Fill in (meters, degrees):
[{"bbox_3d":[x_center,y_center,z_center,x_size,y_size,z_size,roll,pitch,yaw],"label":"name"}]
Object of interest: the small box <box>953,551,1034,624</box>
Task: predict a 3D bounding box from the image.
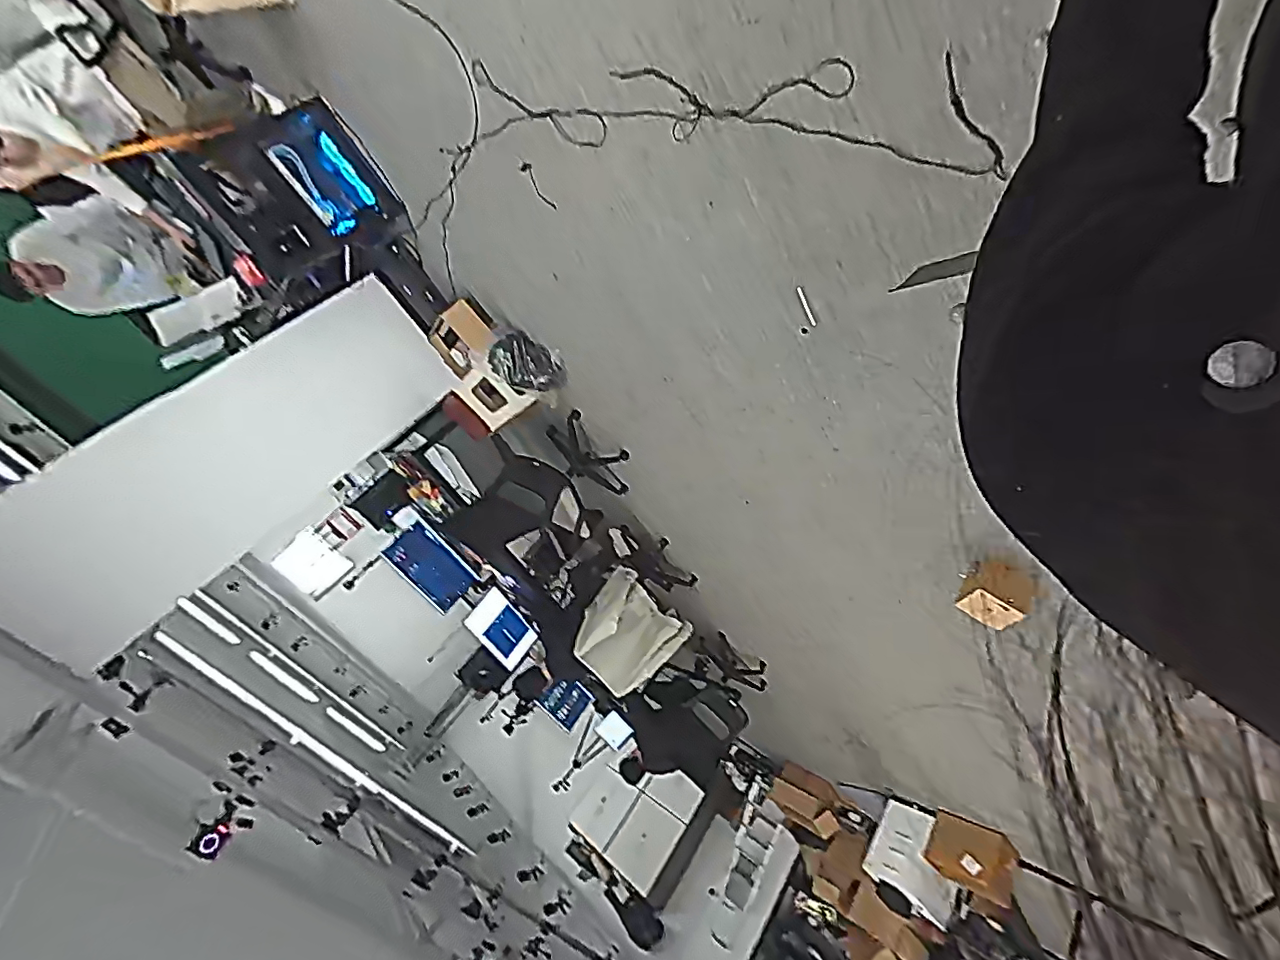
[{"bbox_3d":[1.304,0.395,1.991,0.168,0.176,0.179,33,153,16],"label":"small box"}]
